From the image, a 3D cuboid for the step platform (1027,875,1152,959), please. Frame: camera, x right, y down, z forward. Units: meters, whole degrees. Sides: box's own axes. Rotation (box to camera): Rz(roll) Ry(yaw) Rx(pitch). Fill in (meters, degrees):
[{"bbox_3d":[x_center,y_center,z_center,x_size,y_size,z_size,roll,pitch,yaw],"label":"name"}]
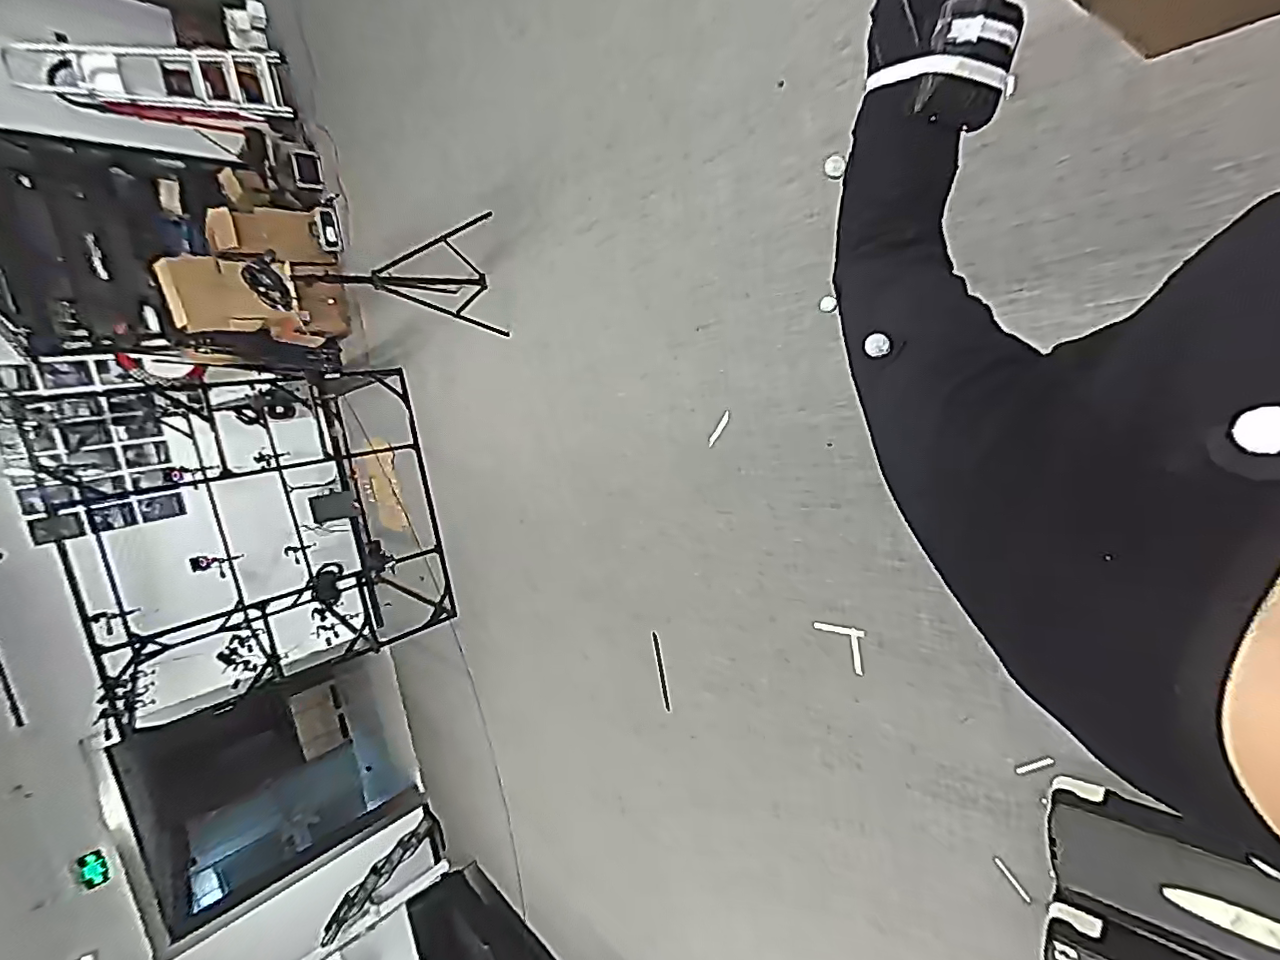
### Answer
[{"bbox_3d":[1.256,1.194,1.165,0.684,0.204,0.286,-2,101,50],"label":"step platform"}]
